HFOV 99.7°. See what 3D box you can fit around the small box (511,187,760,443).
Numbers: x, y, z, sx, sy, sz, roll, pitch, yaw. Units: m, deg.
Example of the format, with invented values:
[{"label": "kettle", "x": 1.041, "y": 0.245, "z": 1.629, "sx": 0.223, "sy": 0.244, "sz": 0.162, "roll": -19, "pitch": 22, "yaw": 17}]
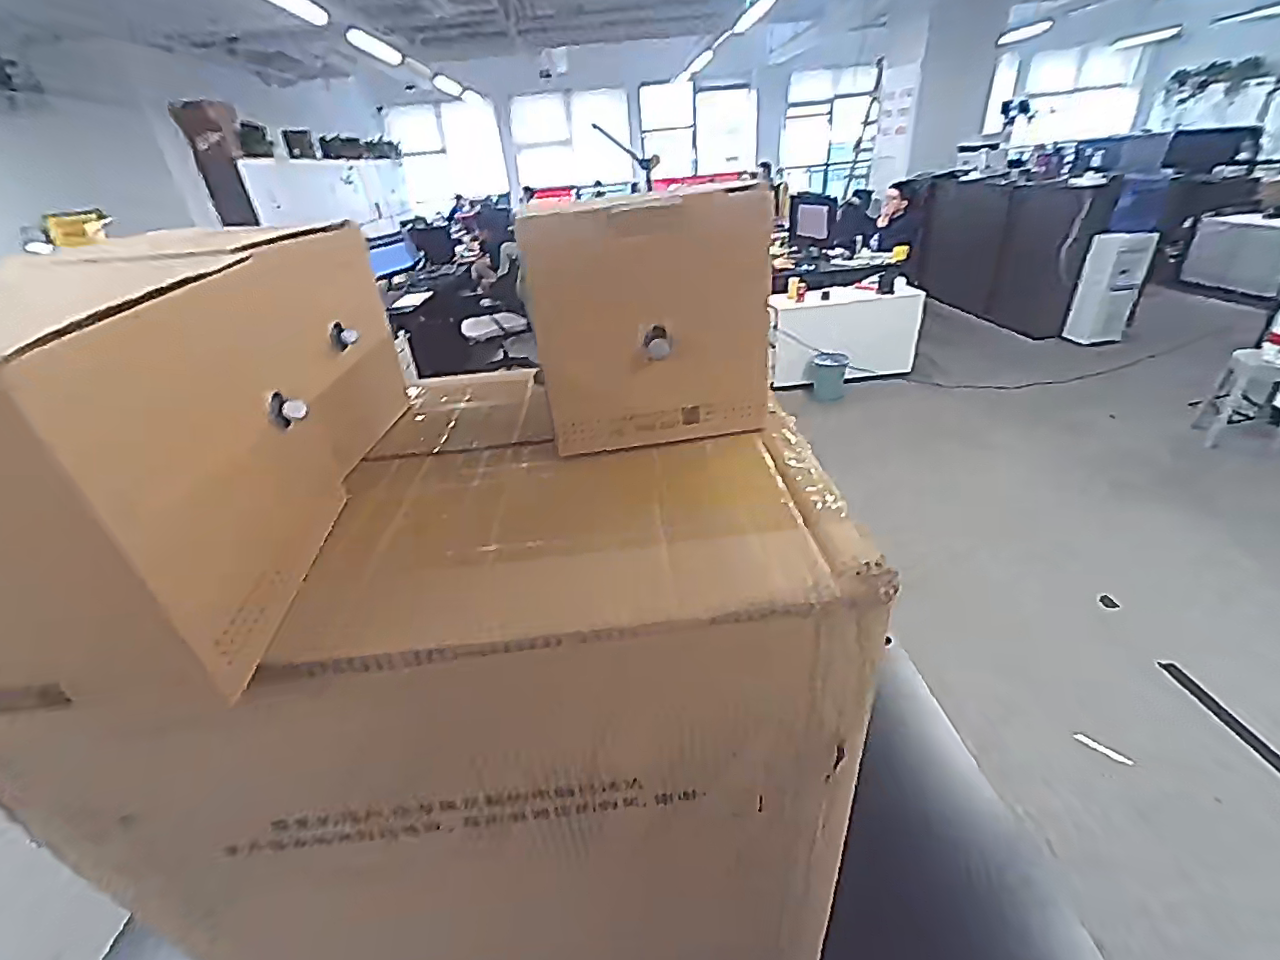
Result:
[{"label": "small box", "x": -0.003, "y": -0.138, "z": 0.452, "sx": 0.168, "sy": 0.176, "sz": 0.179, "roll": -8, "pitch": 30, "yaw": -4}]
